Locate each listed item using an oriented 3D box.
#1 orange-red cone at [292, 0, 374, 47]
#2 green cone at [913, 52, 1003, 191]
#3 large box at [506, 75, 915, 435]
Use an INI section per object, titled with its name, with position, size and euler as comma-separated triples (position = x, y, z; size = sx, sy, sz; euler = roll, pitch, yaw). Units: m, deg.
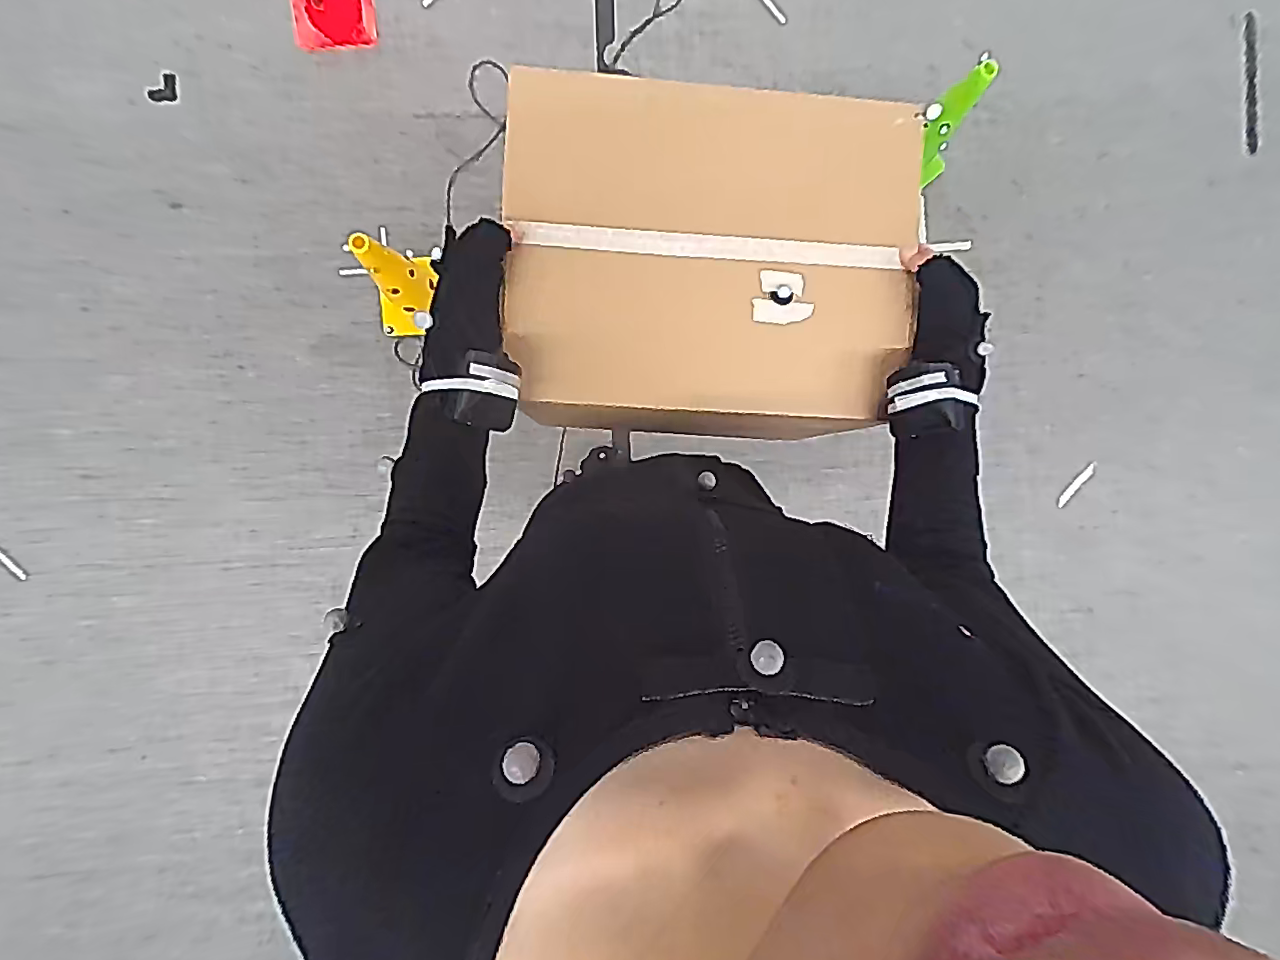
[orange-red cone]
position = -0.775, -1.197, 1.204
size = 0.198, 0.360, 0.199
euler = -6, 94, -2
[green cone]
position = 0.725, -0.879, 1.311
size = 0.202, 0.368, 0.200
euler = -41, 95, -3
[large box]
position = 0.061, -0.227, 0.675
size = 0.408, 0.320, 0.320
euler = 3, 91, -4
